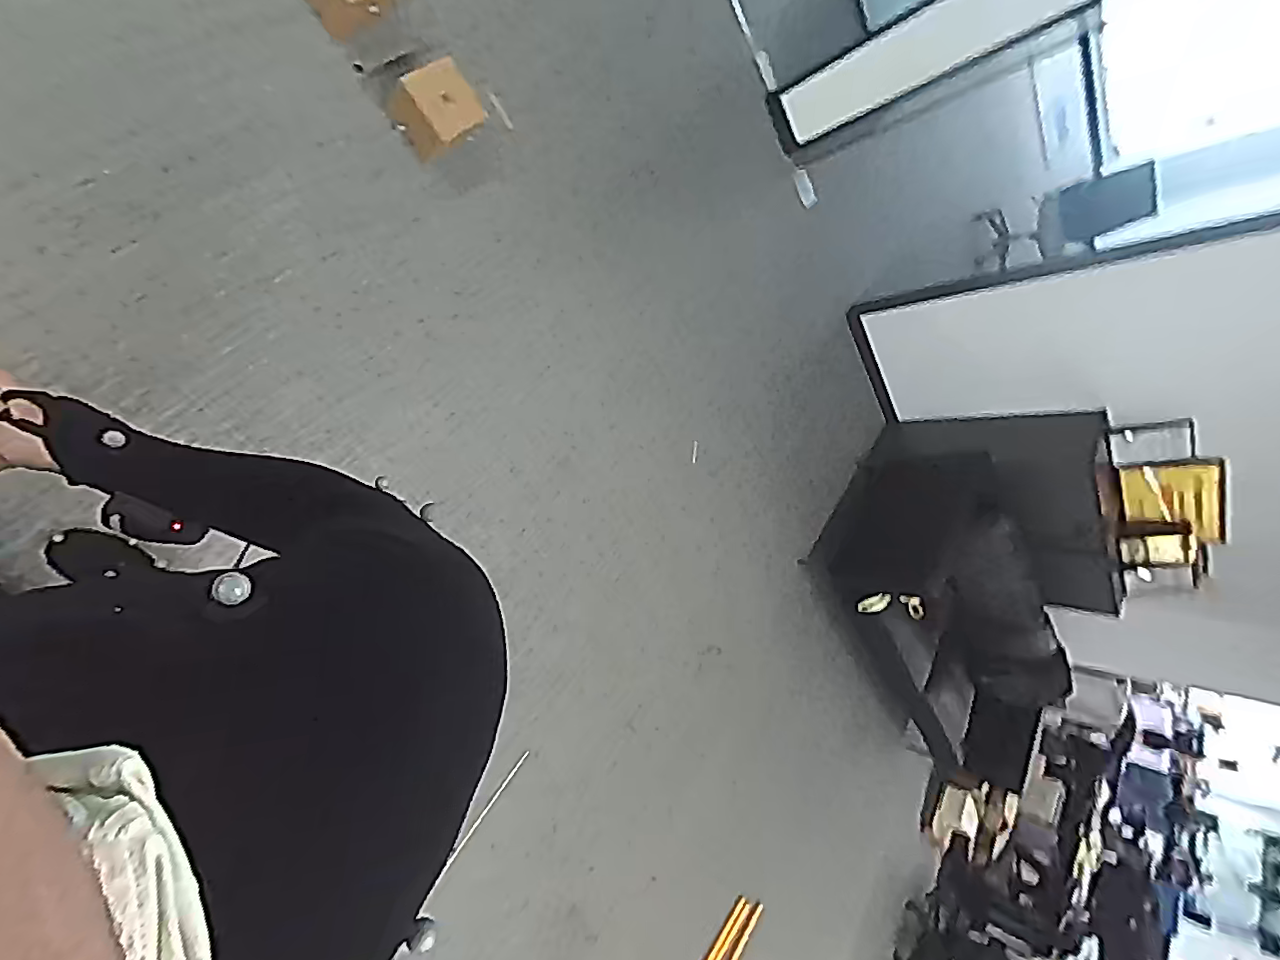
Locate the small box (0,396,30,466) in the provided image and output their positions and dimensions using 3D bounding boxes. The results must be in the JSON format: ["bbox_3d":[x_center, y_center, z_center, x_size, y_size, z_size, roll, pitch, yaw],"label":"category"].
[{"bbox_3d":[-0.724,-0.073,0.495,0.168,0.176,0.179,-30,111,-38],"label":"small box"}]

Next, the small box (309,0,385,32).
[{"bbox_3d":[-0.741,-1.262,1.334,0.179,0.176,0.168,-52,123,-27],"label":"small box"}]

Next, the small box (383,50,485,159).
[{"bbox_3d":[-0.573,-1.030,1.494,0.179,0.176,0.168,-51,122,-26],"label":"small box"}]
